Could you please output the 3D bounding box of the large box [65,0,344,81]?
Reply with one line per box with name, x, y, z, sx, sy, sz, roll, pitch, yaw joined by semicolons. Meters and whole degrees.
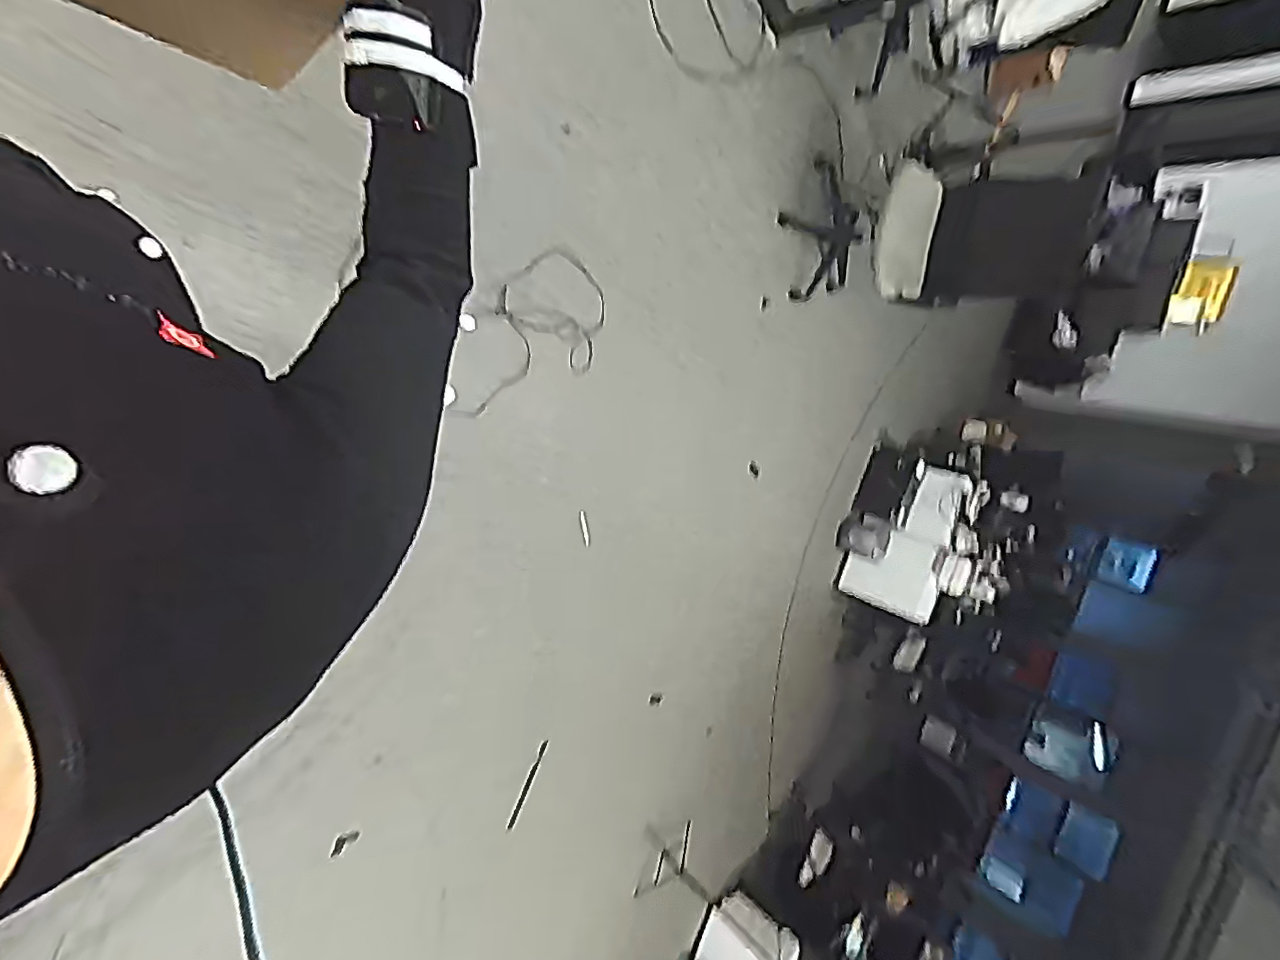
large box;-0.379;-0.499;0.270;0.408;0.320;0.320;-2;105;-46
